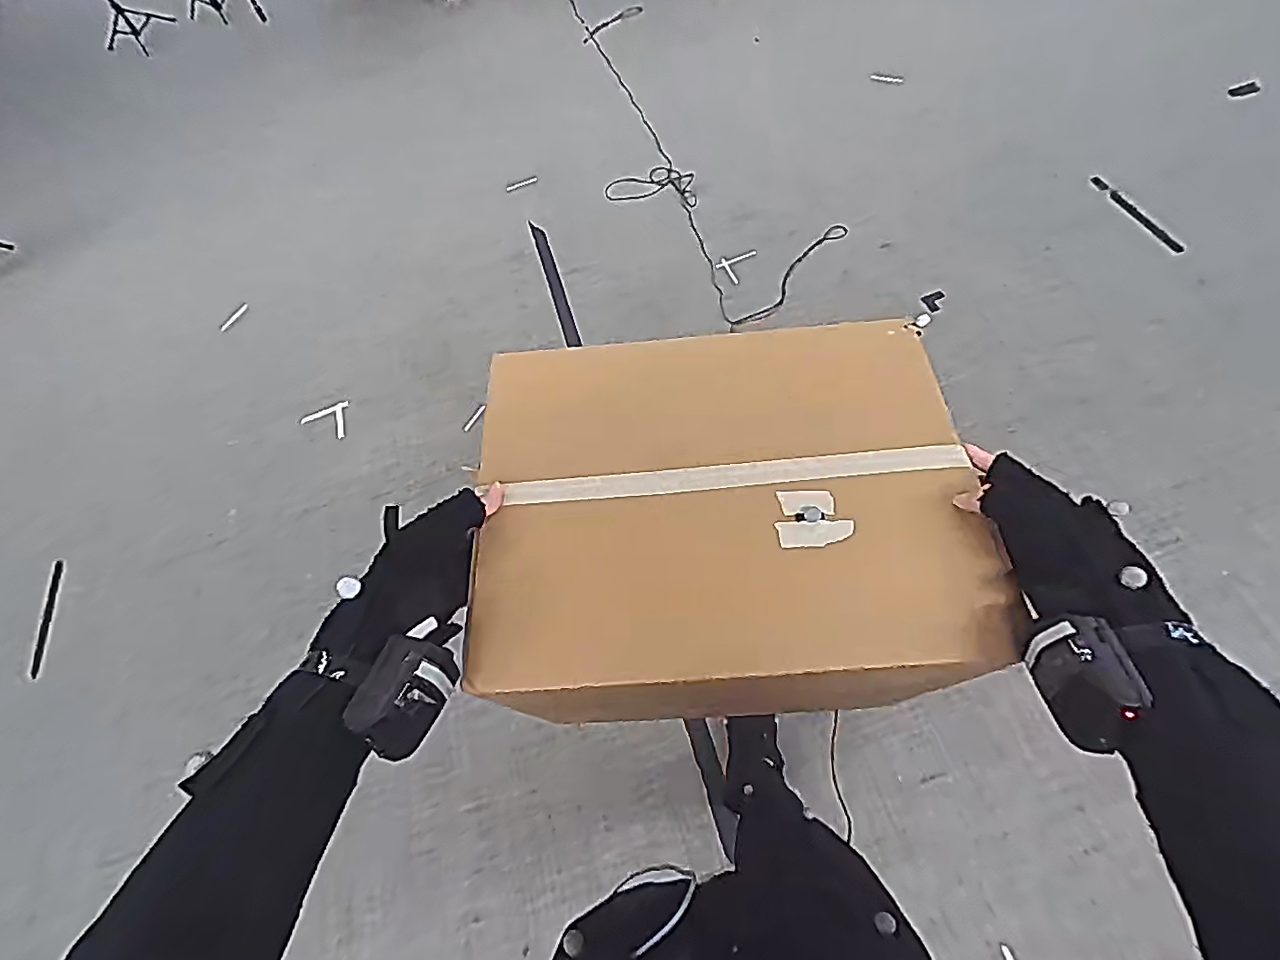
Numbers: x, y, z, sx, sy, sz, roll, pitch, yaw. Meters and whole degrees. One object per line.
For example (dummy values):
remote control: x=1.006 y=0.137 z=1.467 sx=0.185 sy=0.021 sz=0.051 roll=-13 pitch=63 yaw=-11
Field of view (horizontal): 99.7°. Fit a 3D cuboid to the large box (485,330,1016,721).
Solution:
large box: x=0.077 y=0.072 z=0.599 sx=0.408 sy=0.320 sz=0.320 roll=-4 pitch=62 yaw=2
